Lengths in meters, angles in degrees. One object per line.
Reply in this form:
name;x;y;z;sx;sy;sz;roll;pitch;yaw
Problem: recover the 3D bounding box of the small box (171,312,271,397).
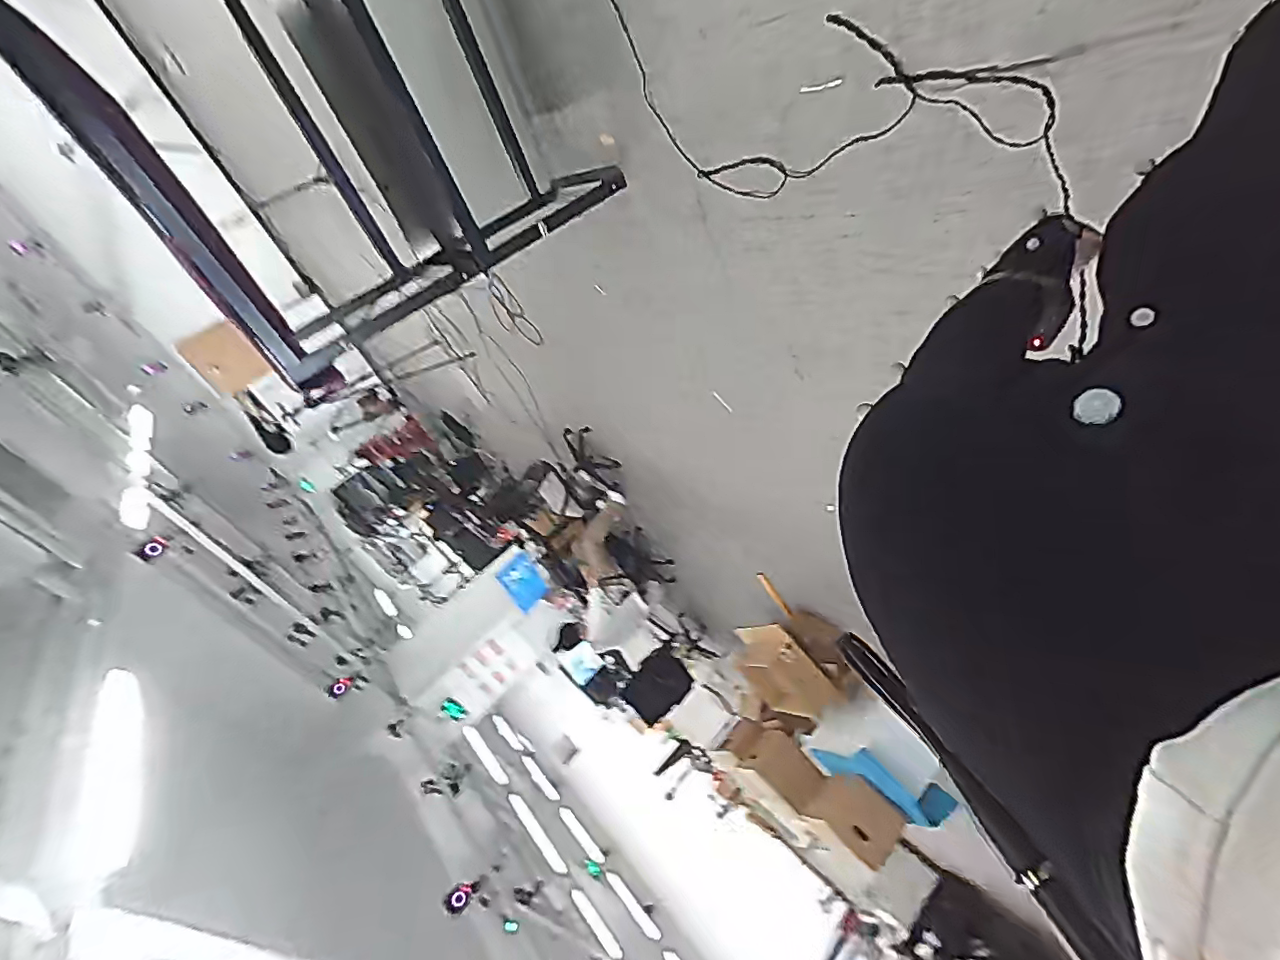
small box;-1.252;-0.379;1.622;0.168;0.176;0.179;25;147;46
